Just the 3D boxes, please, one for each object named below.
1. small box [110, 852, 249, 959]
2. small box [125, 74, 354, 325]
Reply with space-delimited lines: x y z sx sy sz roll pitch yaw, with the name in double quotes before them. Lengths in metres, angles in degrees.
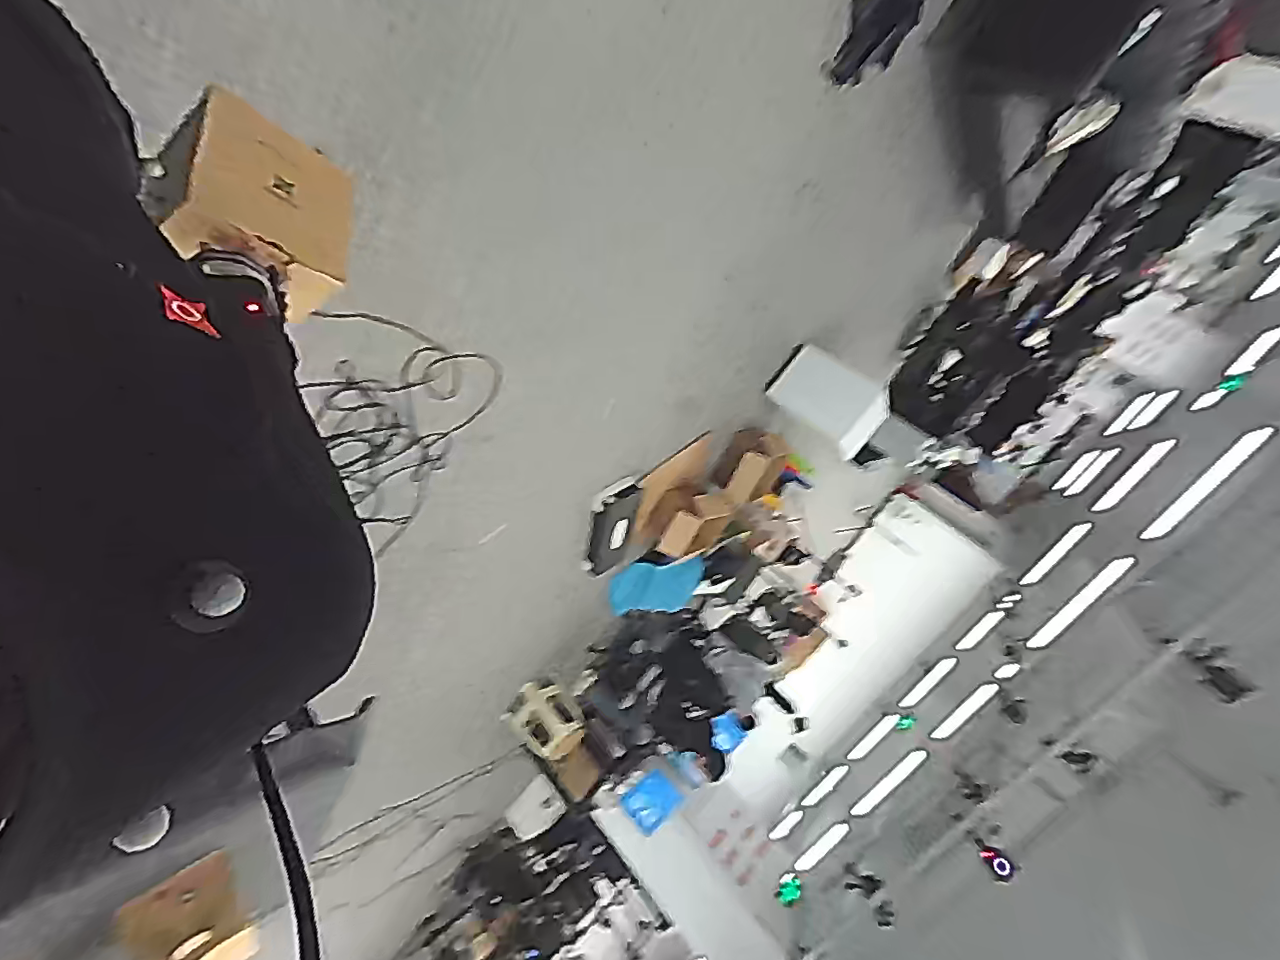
"small box" -0.884 0.872 1.045 0.168 0.176 0.179 -19 141 -45
"small box" -0.479 -0.320 0.656 0.176 0.179 0.168 -17 159 27
